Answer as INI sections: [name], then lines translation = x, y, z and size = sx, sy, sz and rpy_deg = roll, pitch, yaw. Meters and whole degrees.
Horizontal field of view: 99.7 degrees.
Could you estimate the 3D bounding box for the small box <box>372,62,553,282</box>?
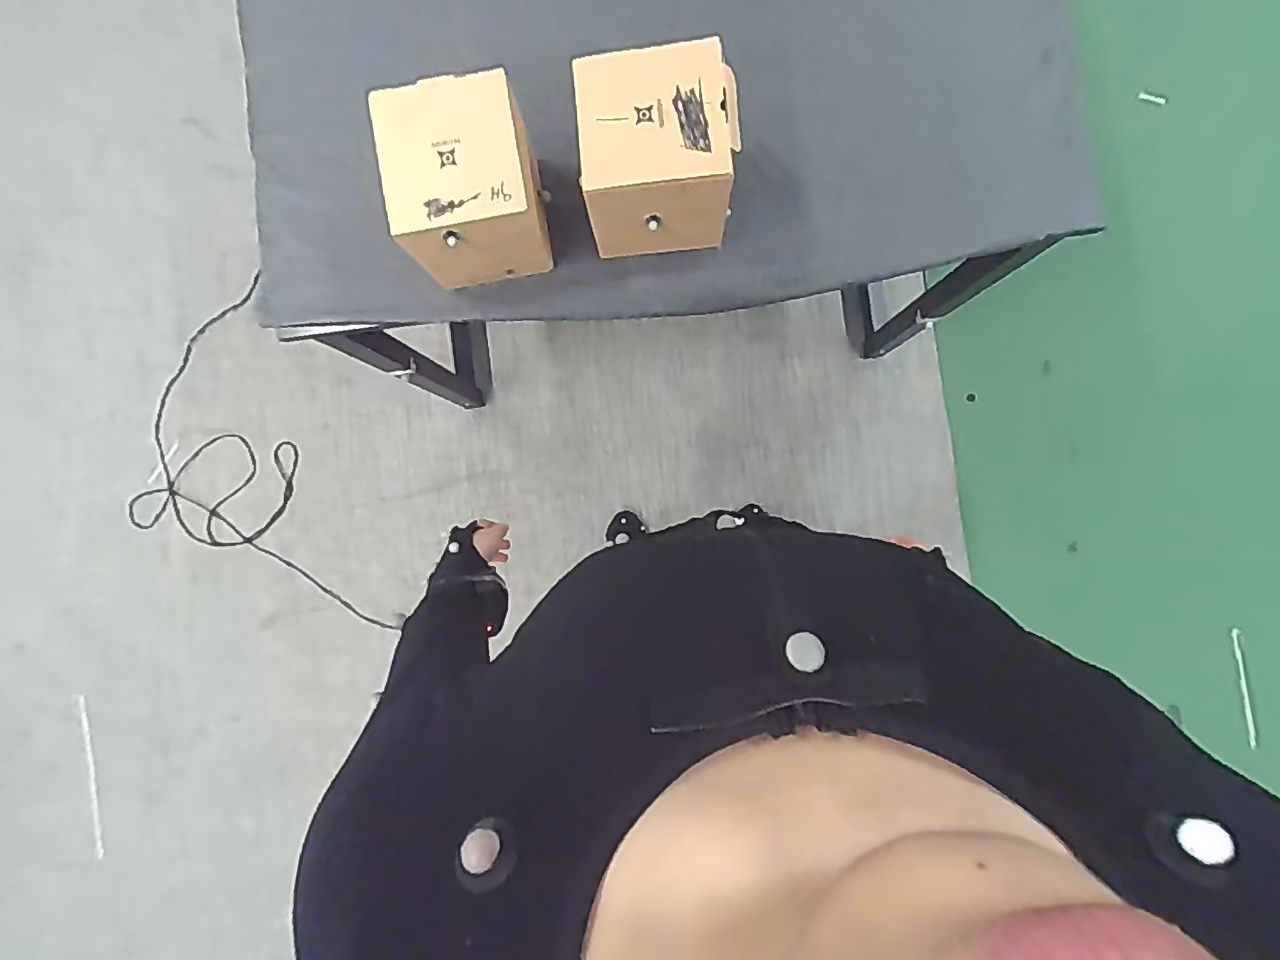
[small box]
translation = -0.219, -0.386, 0.705
size = 0.168, 0.176, 0.179
rpy_deg = -9, 88, 3
